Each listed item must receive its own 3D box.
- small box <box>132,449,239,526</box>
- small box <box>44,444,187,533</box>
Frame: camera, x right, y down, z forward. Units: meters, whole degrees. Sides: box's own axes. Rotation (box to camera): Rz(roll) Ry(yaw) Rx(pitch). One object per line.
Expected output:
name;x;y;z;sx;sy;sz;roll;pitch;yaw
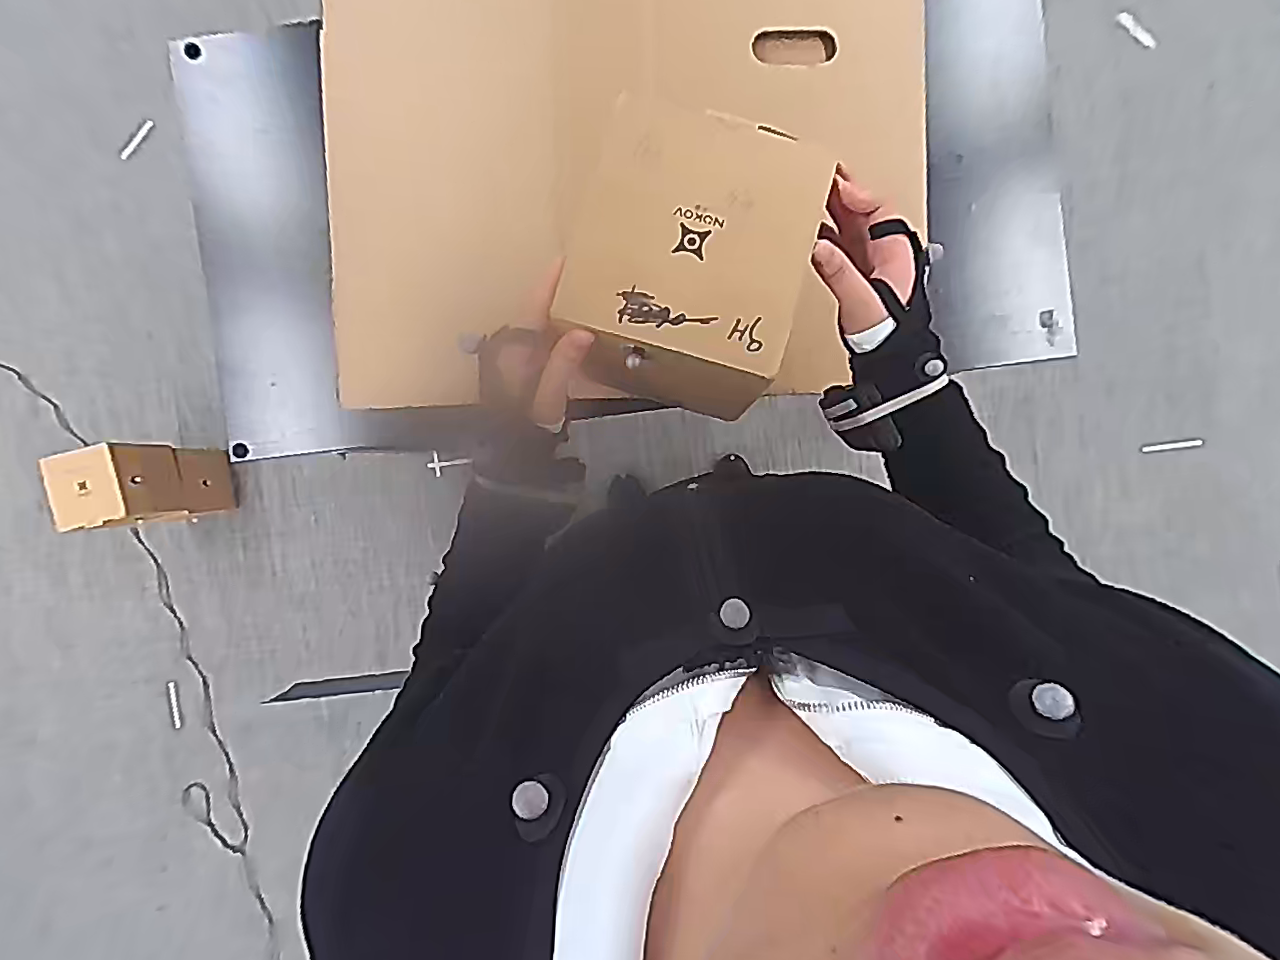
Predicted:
small box;-1.239;0.017;1.464;0.168;0.176;0.179;-11;92;2
small box;-1.247;0.017;1.301;0.168;0.176;0.179;-14;90;2
